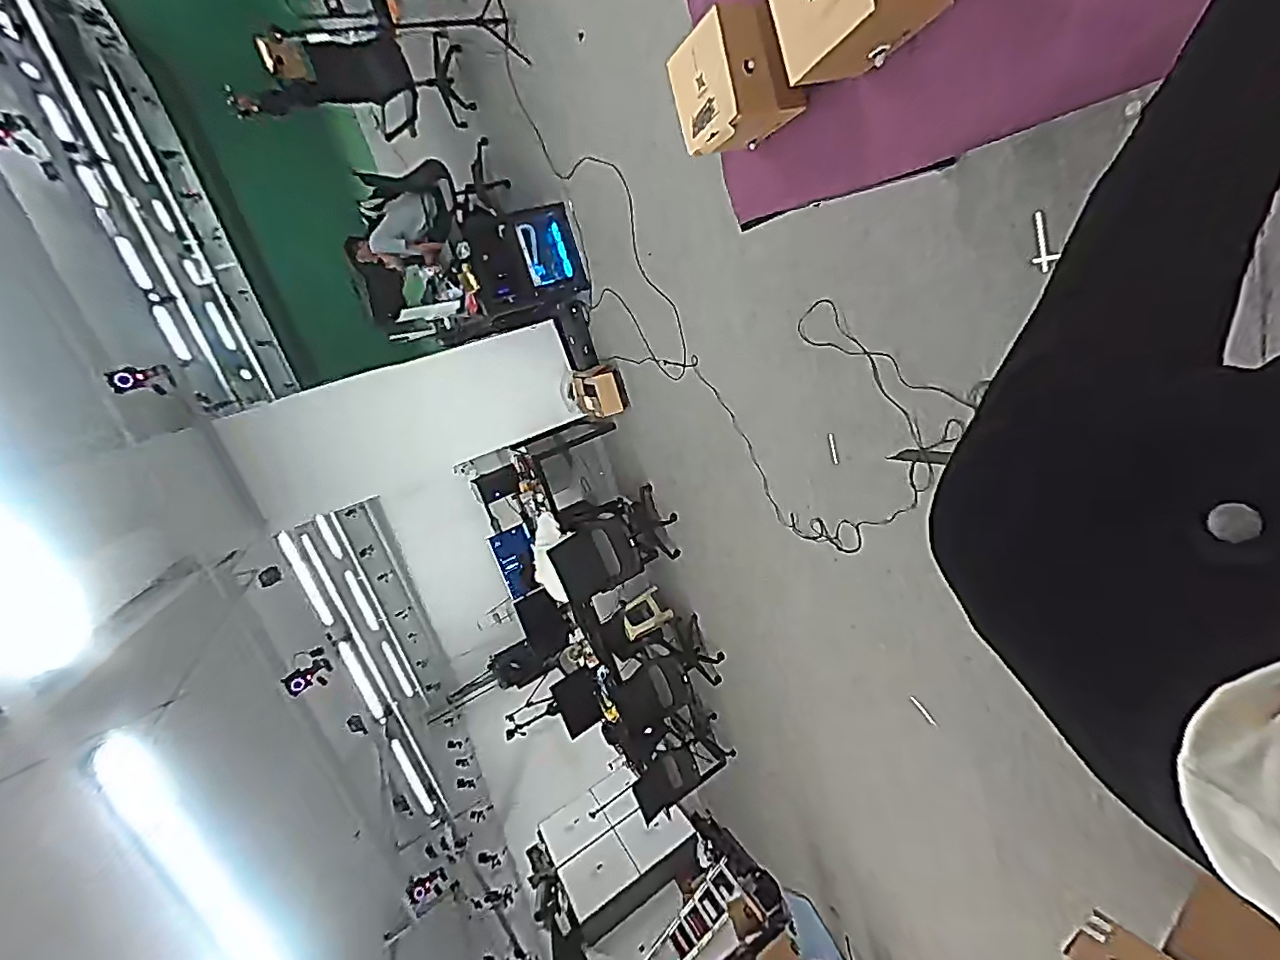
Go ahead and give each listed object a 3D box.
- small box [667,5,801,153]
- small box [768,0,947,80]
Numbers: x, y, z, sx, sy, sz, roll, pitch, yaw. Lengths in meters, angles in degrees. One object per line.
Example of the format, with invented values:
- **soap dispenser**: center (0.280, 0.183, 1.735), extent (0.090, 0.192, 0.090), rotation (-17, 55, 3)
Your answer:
- **small box**: center (0.182, -0.758, 1.027), extent (0.168, 0.176, 0.179), rotation (11, 121, 63)
- **small box**: center (0.309, -0.726, 0.786), extent (0.168, 0.176, 0.179), rotation (7, 118, 65)
